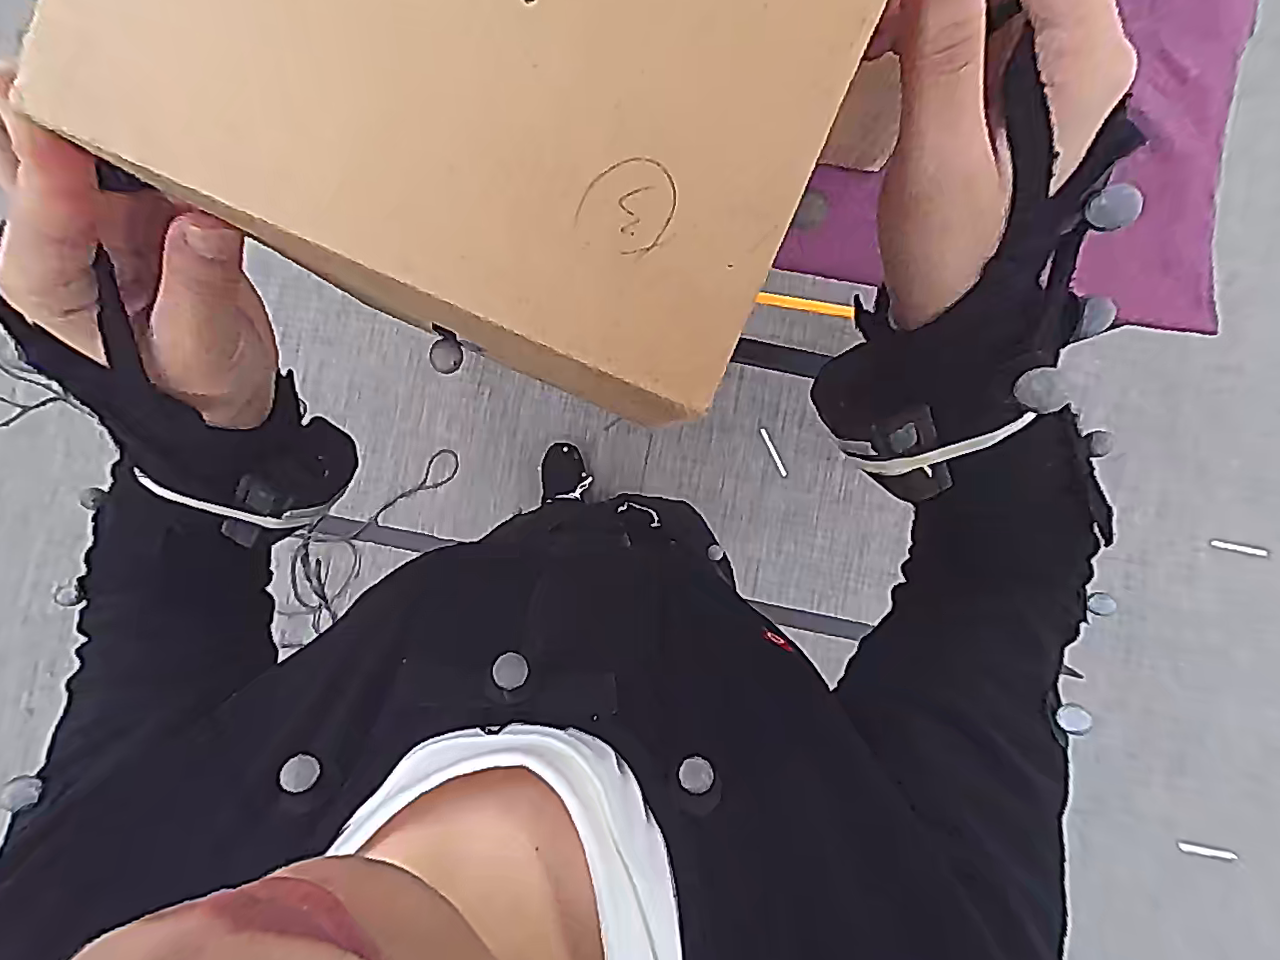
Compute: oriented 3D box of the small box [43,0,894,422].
[{"bbox_3d":[-0.028,-0.131,0.200,0.168,0.176,0.179,24,93,-6],"label":"small box"}]
